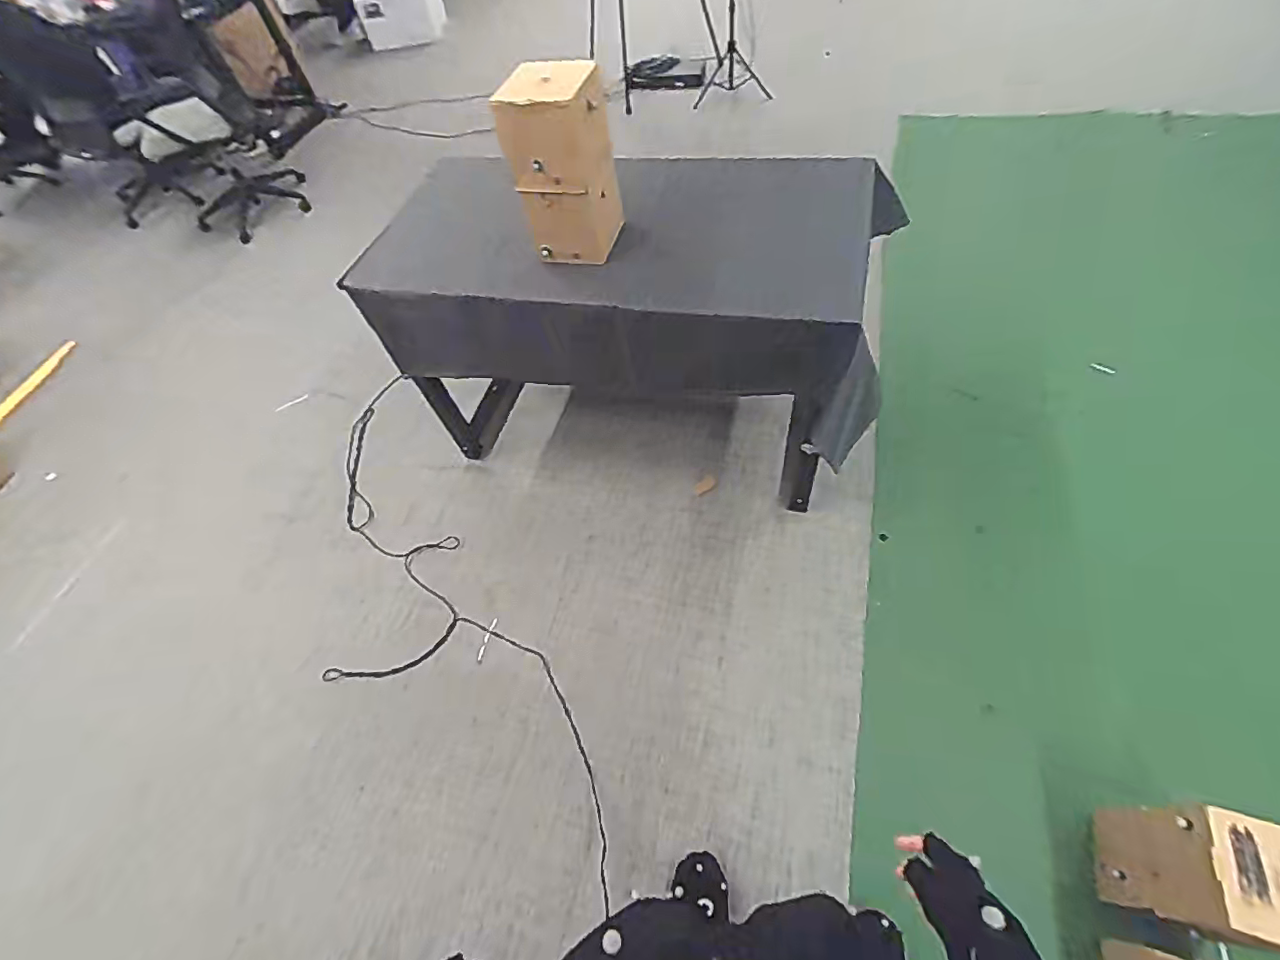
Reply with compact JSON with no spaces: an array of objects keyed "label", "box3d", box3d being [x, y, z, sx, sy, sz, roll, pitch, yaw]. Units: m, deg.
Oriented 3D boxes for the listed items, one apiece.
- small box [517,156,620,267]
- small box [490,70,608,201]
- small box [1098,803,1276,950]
[{"label":"small box","box3d":[-0.151,-0.604,1.225,0.168,0.176,0.179,8,57,14]},{"label":"small box","box3d":[-0.172,-0.694,1.092,0.168,0.176,0.179,9,58,14]},{"label":"small box","box3d":[1.000,0.734,1.013,0.179,0.176,0.168,13,59,18]}]
